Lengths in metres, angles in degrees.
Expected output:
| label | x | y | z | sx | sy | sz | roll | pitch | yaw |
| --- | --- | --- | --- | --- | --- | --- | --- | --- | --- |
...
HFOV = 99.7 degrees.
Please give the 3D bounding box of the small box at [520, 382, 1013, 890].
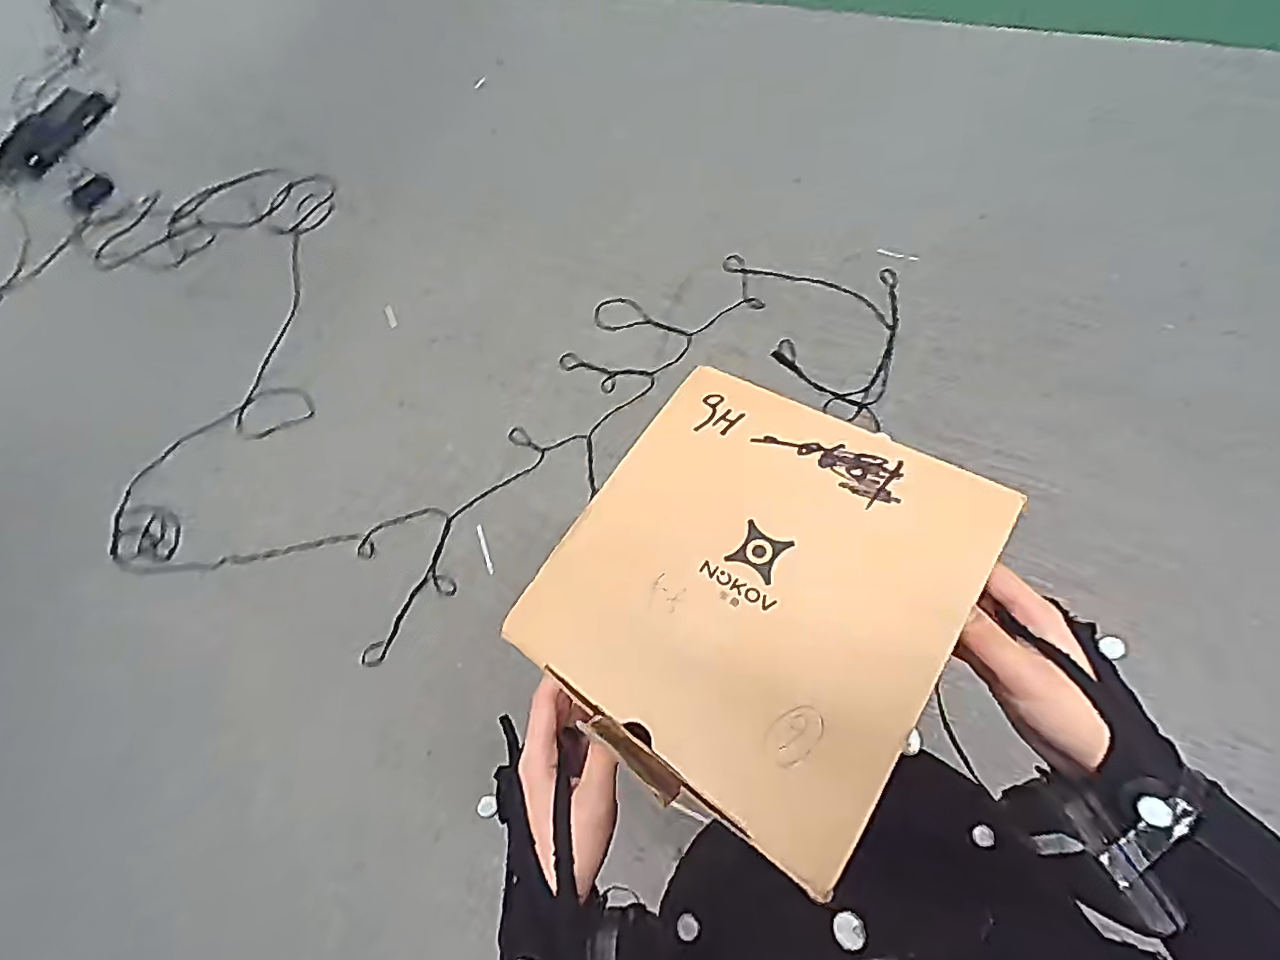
| label | x | y | z | sx | sy | sz | roll | pitch | yaw |
| --- | --- | --- | --- | --- | --- | --- | --- | --- | --- |
| small box | 0.070 | 0.082 | 0.317 | 0.168 | 0.176 | 0.179 | 29 | 74 | 26 |
